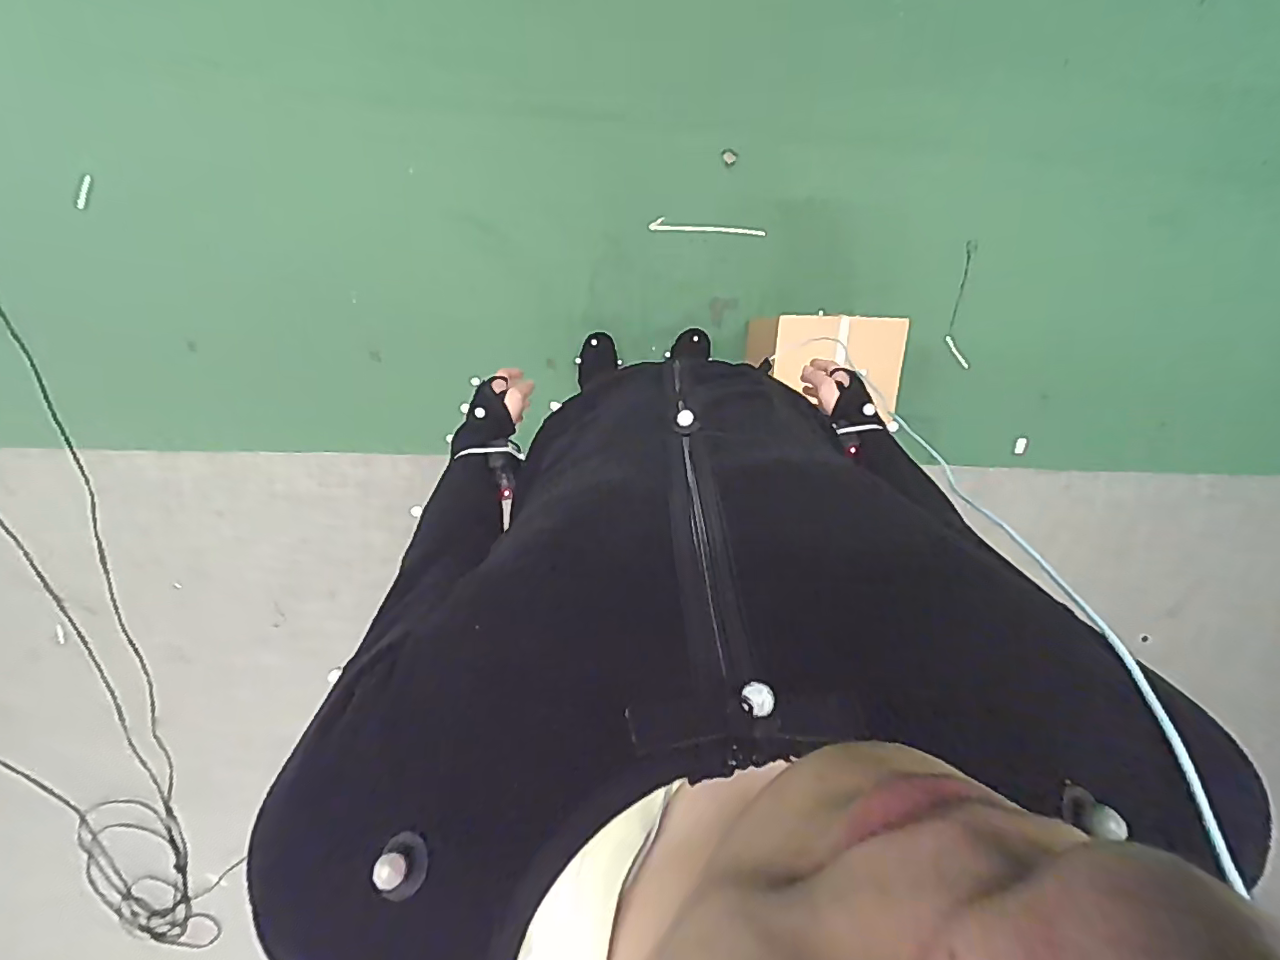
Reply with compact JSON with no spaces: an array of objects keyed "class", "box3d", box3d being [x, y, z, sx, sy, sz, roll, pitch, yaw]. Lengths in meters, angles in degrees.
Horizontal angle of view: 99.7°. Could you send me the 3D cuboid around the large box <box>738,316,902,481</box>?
[{"class":"large box","box3d":[0.460,-0.233,1.467,0.320,0.320,0.408,1,107,-2]}]
